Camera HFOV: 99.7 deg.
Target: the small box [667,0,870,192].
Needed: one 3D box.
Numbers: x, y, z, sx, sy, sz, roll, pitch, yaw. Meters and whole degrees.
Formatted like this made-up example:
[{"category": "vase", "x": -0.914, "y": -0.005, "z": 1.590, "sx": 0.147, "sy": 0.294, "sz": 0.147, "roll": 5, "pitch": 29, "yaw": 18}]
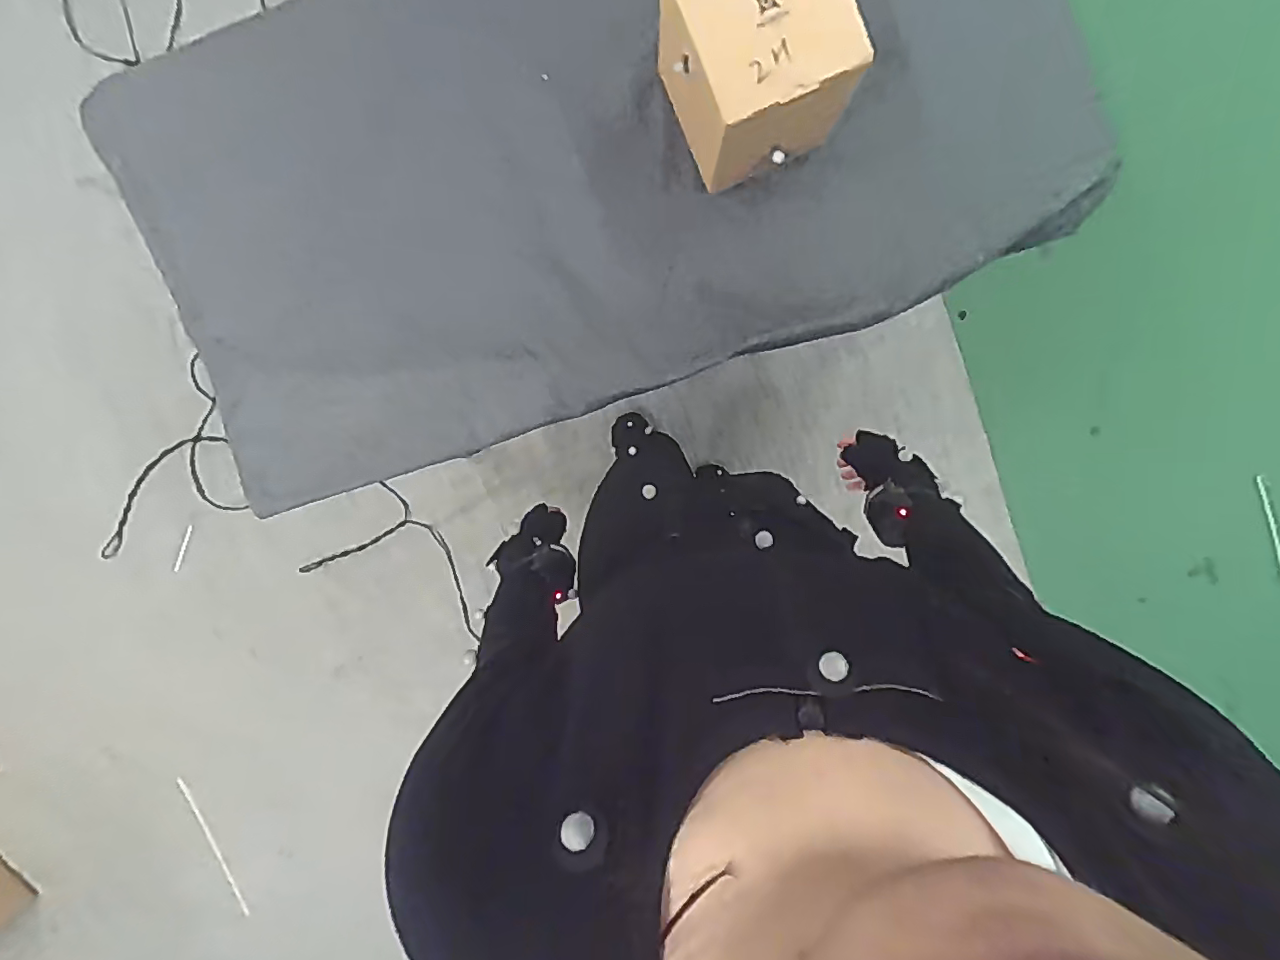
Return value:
[{"category": "small box", "x": 0.135, "y": -0.484, "z": 0.639, "sx": 0.168, "sy": 0.176, "sz": 0.179, "roll": -22, "pitch": 95, "yaw": 4}]
